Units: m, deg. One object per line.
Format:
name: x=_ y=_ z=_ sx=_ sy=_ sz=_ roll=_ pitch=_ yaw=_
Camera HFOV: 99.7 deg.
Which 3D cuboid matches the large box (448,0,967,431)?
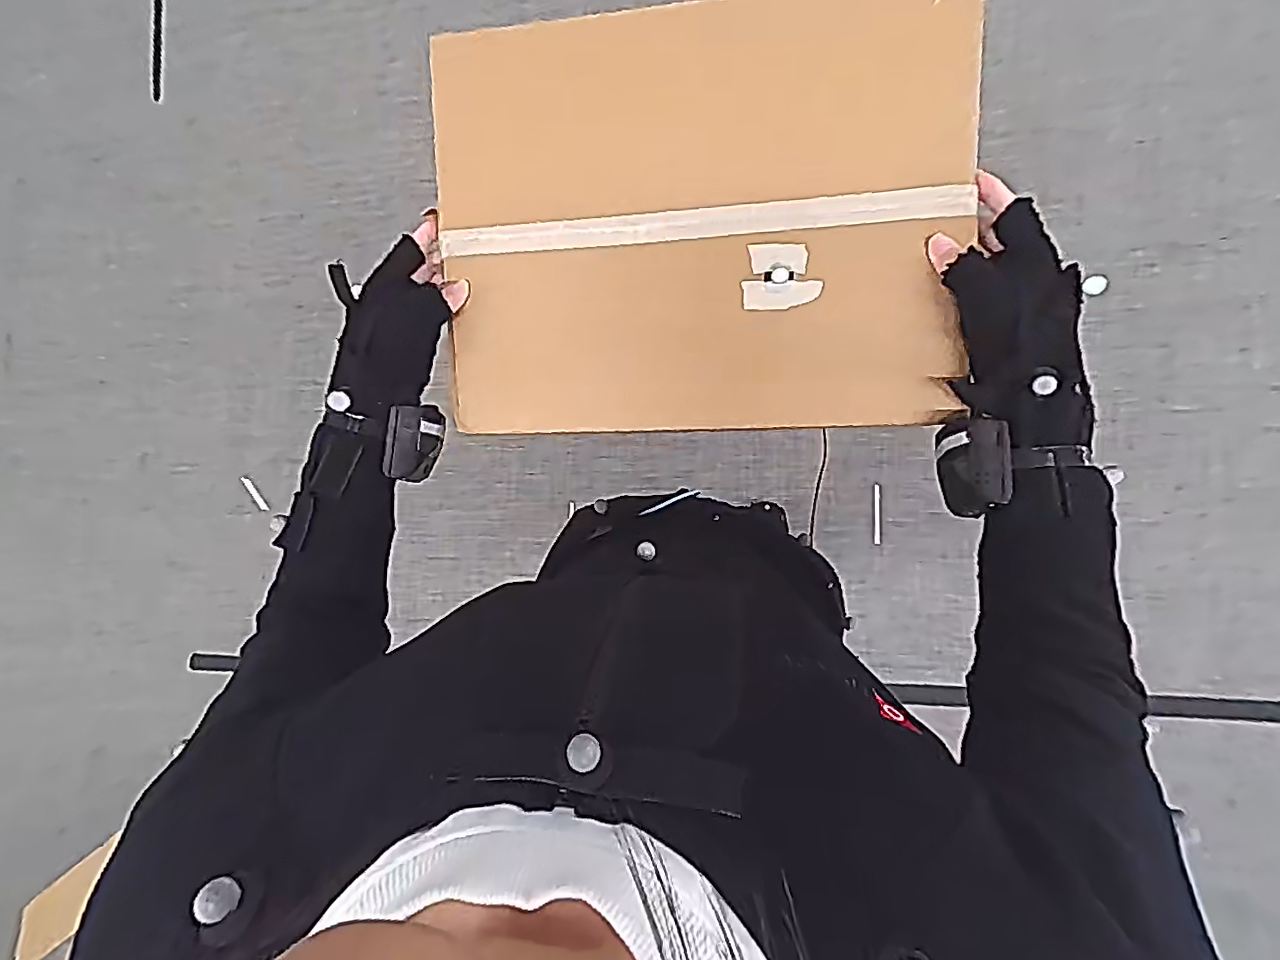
large box: x=0.063 y=-0.218 z=0.576 sx=0.408 sy=0.320 sz=0.320 roll=-1 pitch=97 yaw=8
